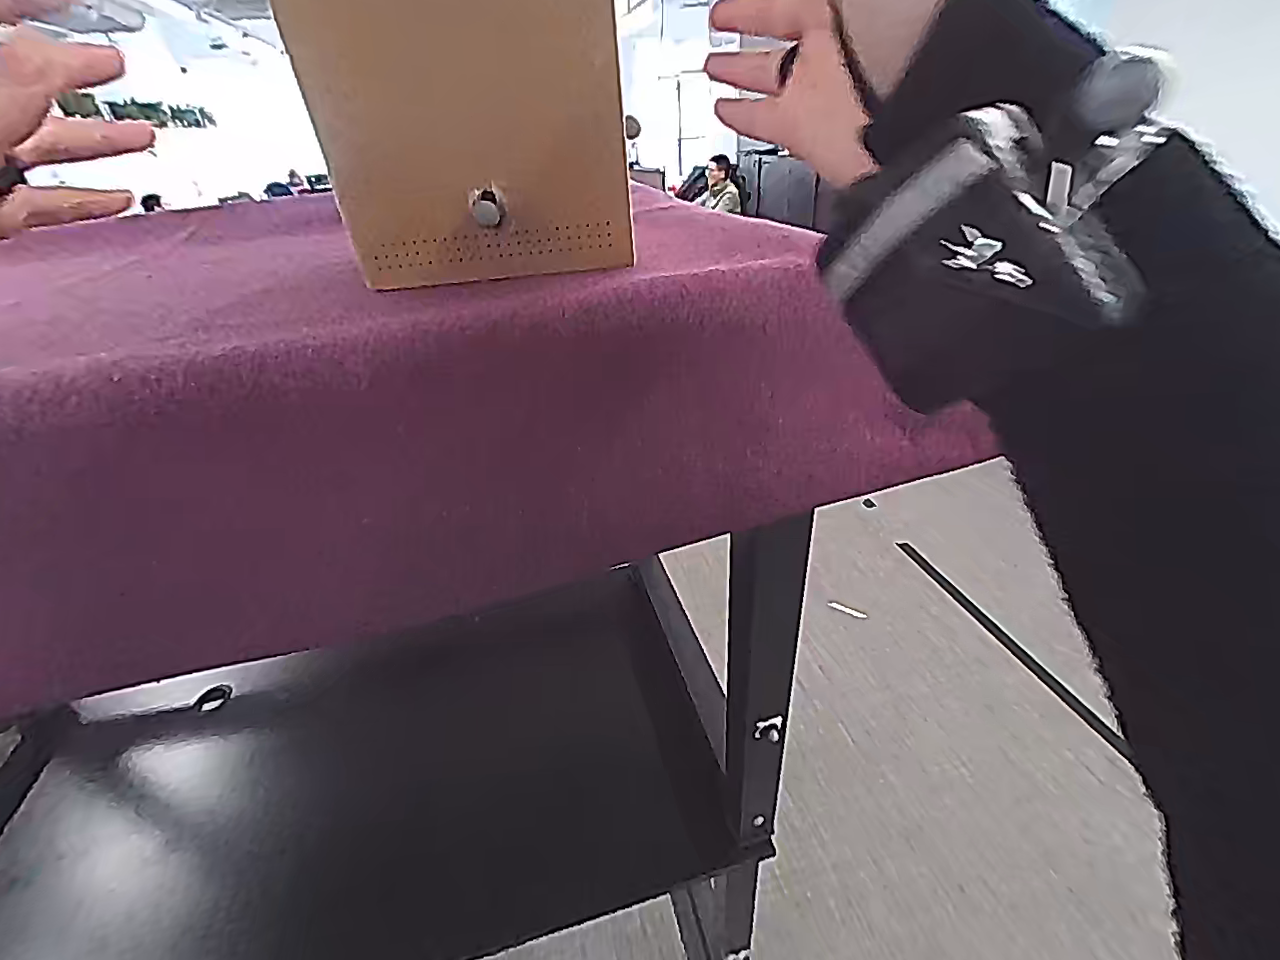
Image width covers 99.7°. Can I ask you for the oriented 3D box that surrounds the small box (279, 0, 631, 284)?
[{"bbox_3d":[-0.098,-0.243,0.371,0.179,0.176,0.168,-6,33,-2],"label":"small box"}]
